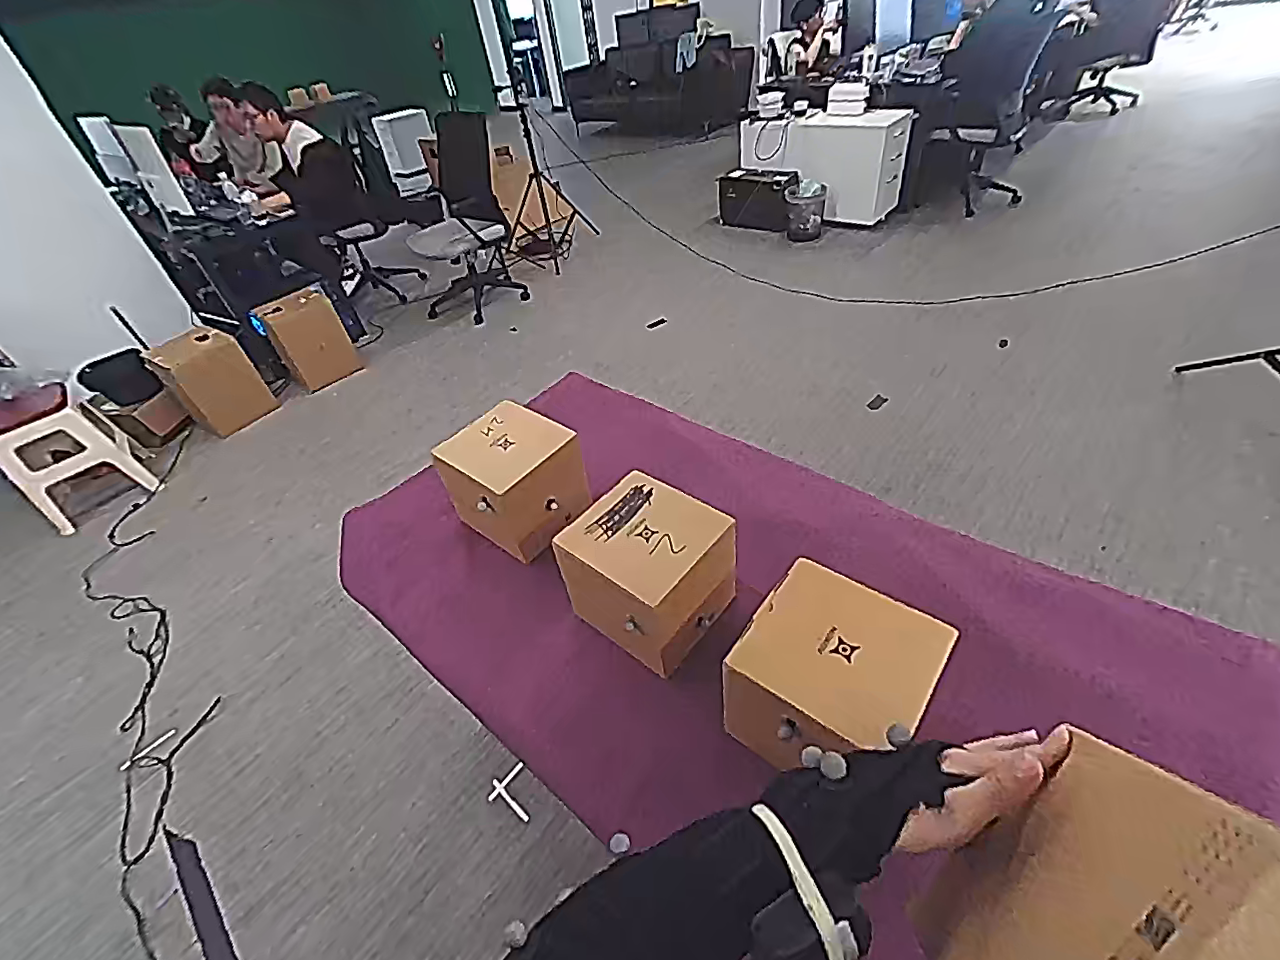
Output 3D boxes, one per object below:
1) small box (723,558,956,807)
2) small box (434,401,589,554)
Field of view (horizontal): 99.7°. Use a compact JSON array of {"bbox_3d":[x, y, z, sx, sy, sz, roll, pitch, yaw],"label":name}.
[{"bbox_3d":[0.211,0.226,0.600,0.179,0.176,0.168,25,52,33],"label":"small box"},{"bbox_3d":[-0.206,0.000,0.914,0.179,0.176,0.168,27,53,30],"label":"small box"}]
